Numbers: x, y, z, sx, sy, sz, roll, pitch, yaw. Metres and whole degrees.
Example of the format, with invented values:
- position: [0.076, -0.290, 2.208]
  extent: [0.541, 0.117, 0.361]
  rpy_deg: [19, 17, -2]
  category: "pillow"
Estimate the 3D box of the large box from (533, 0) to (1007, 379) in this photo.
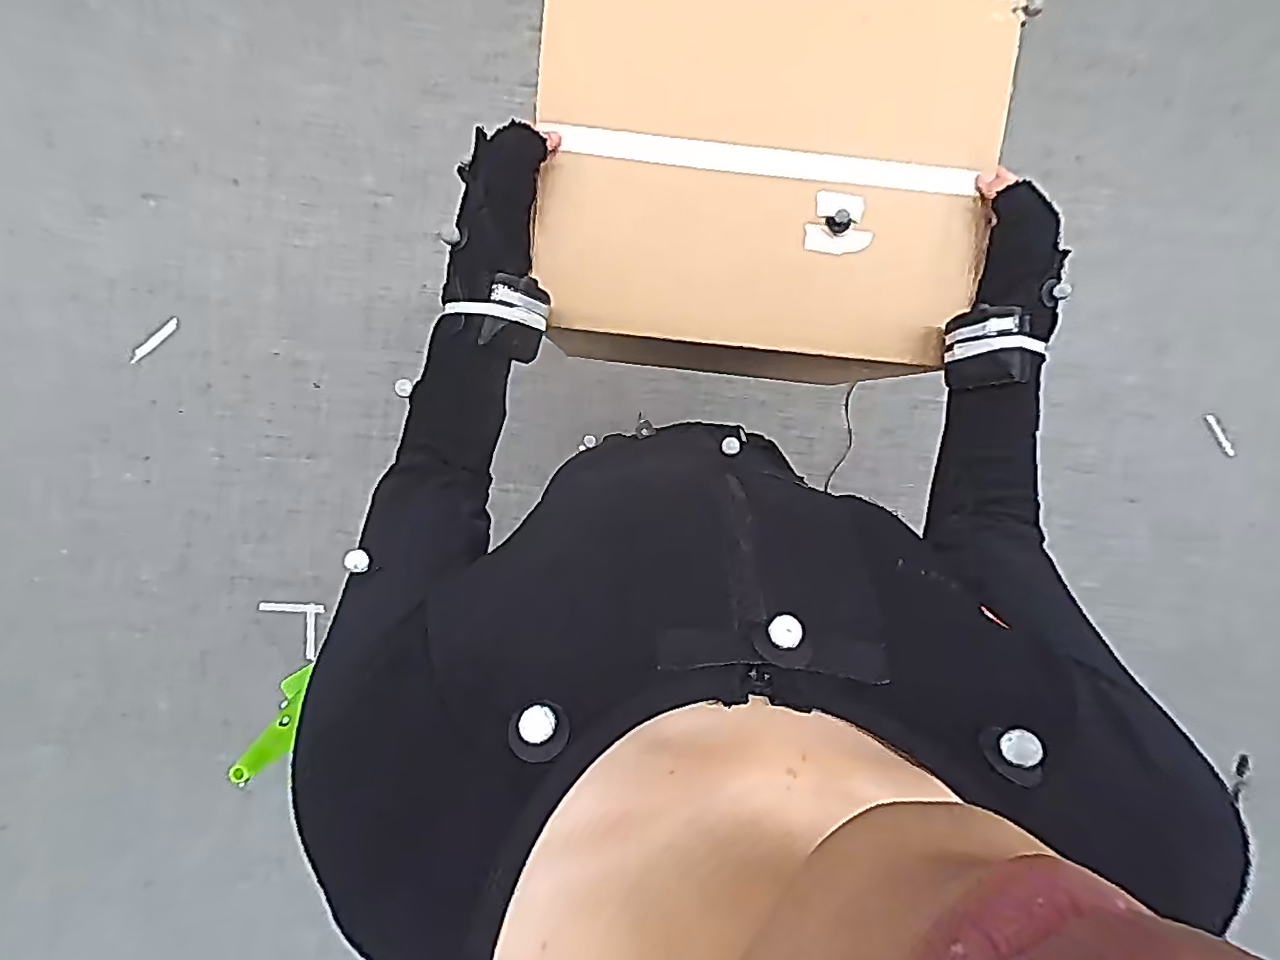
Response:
- position: [0.105, -0.296, 0.625]
  extent: [0.408, 0.320, 0.320]
  rpy_deg: [5, 97, -3]
  category: "large box"

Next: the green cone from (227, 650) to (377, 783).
- position: [-0.858, 0.607, 1.329]
  extent: [0.202, 0.368, 0.200]
  rpy_deg: [-32, 94, 3]
  category: "green cone"
